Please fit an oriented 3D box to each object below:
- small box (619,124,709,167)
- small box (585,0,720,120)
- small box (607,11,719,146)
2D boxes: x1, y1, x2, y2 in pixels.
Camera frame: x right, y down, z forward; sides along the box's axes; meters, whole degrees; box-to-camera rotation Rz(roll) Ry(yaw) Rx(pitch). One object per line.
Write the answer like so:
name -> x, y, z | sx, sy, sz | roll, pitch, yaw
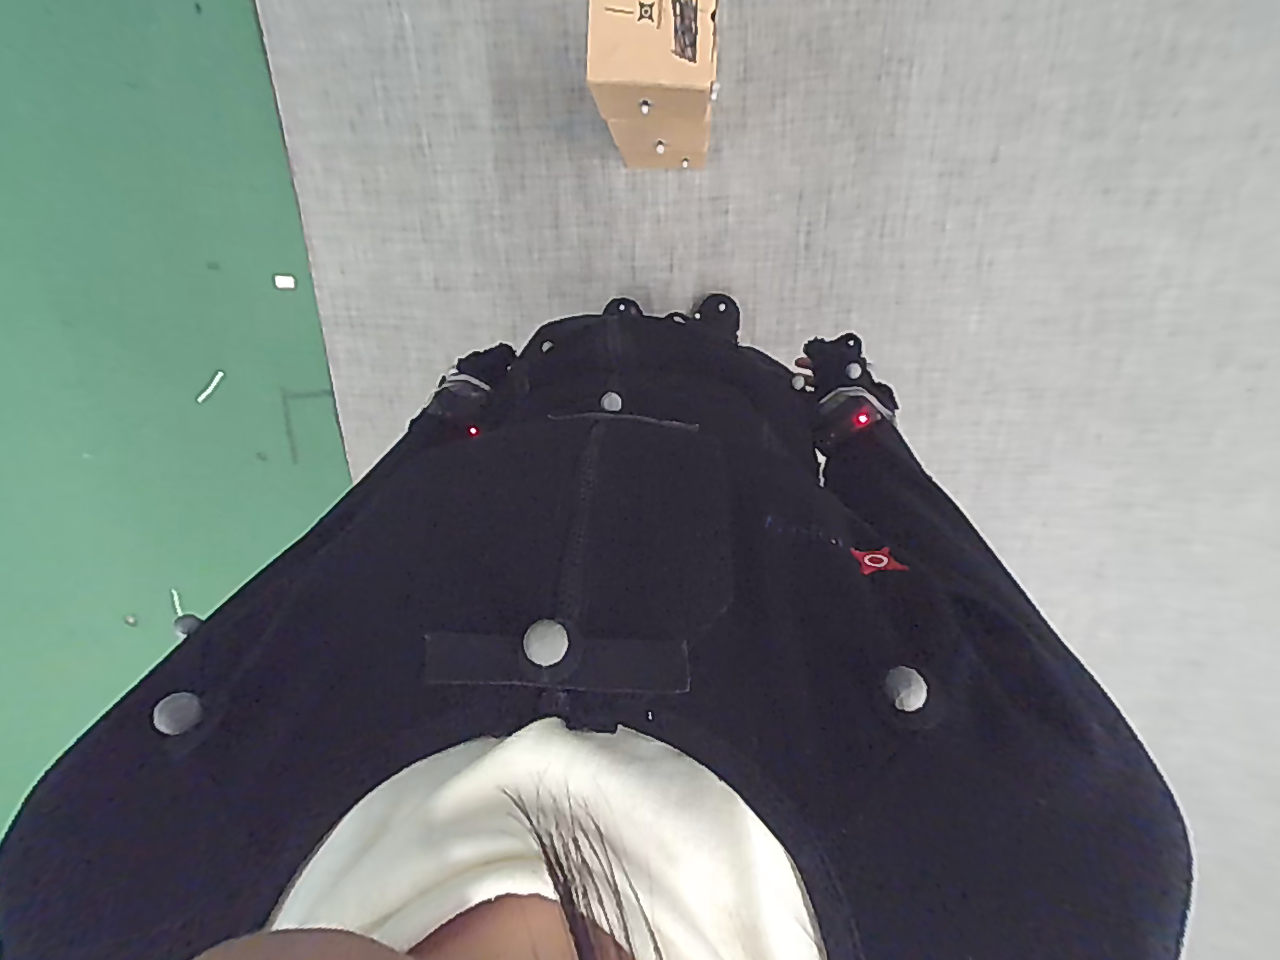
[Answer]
small box -> 0.053, -0.757, 1.114 | 0.179, 0.176, 0.168 | 3, 108, 5
small box -> 0.024, -0.656, 0.802 | 0.179, 0.176, 0.168 | 7, 109, 4
small box -> 0.038, -0.708, 0.958 | 0.179, 0.176, 0.168 | 4, 109, 2
